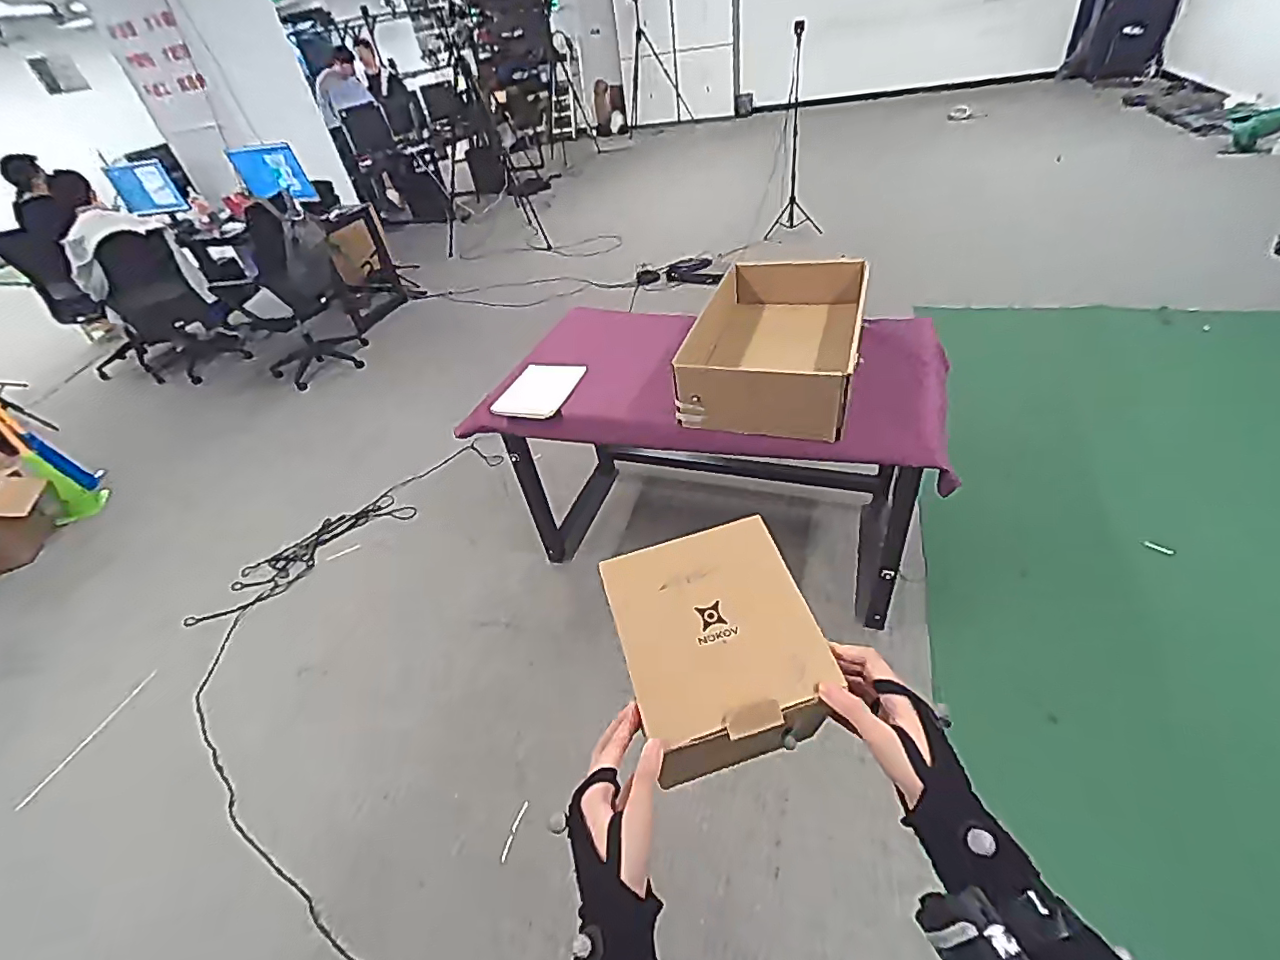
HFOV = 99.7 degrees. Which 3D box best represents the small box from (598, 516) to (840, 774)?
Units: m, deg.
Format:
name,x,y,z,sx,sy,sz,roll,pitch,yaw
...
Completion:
name,x,y,z,sx,sy,sz,roll,pitch,yaw
small box,0.067,0.168,0.529,0.168,0.176,0.179,-15,53,-6
